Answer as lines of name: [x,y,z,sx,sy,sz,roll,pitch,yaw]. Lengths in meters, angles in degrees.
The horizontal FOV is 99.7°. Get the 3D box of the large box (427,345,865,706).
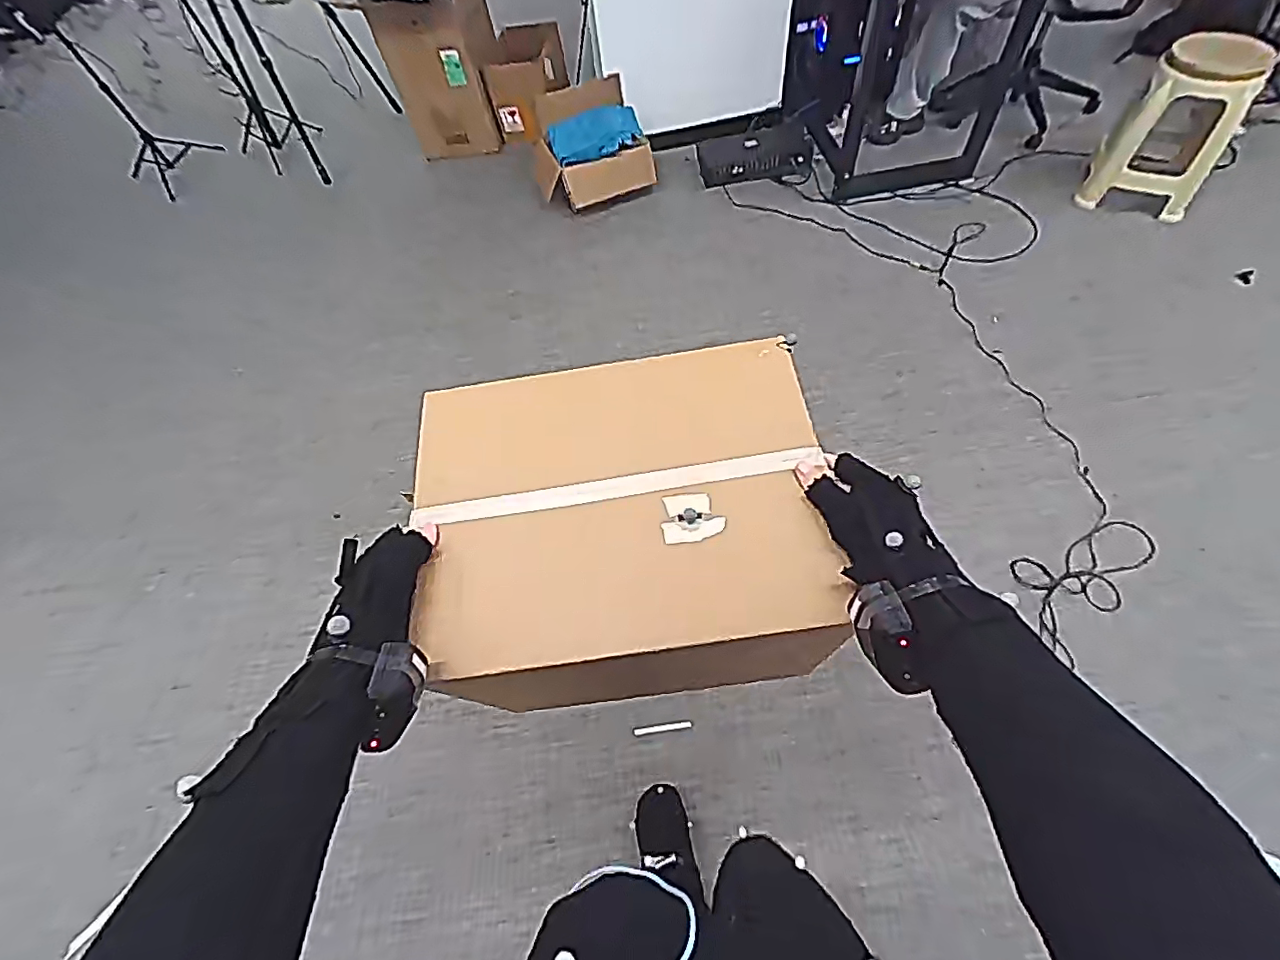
large box: [-0.003,0.078,0.678,0.408,0.320,0.320,-8,62,1]
